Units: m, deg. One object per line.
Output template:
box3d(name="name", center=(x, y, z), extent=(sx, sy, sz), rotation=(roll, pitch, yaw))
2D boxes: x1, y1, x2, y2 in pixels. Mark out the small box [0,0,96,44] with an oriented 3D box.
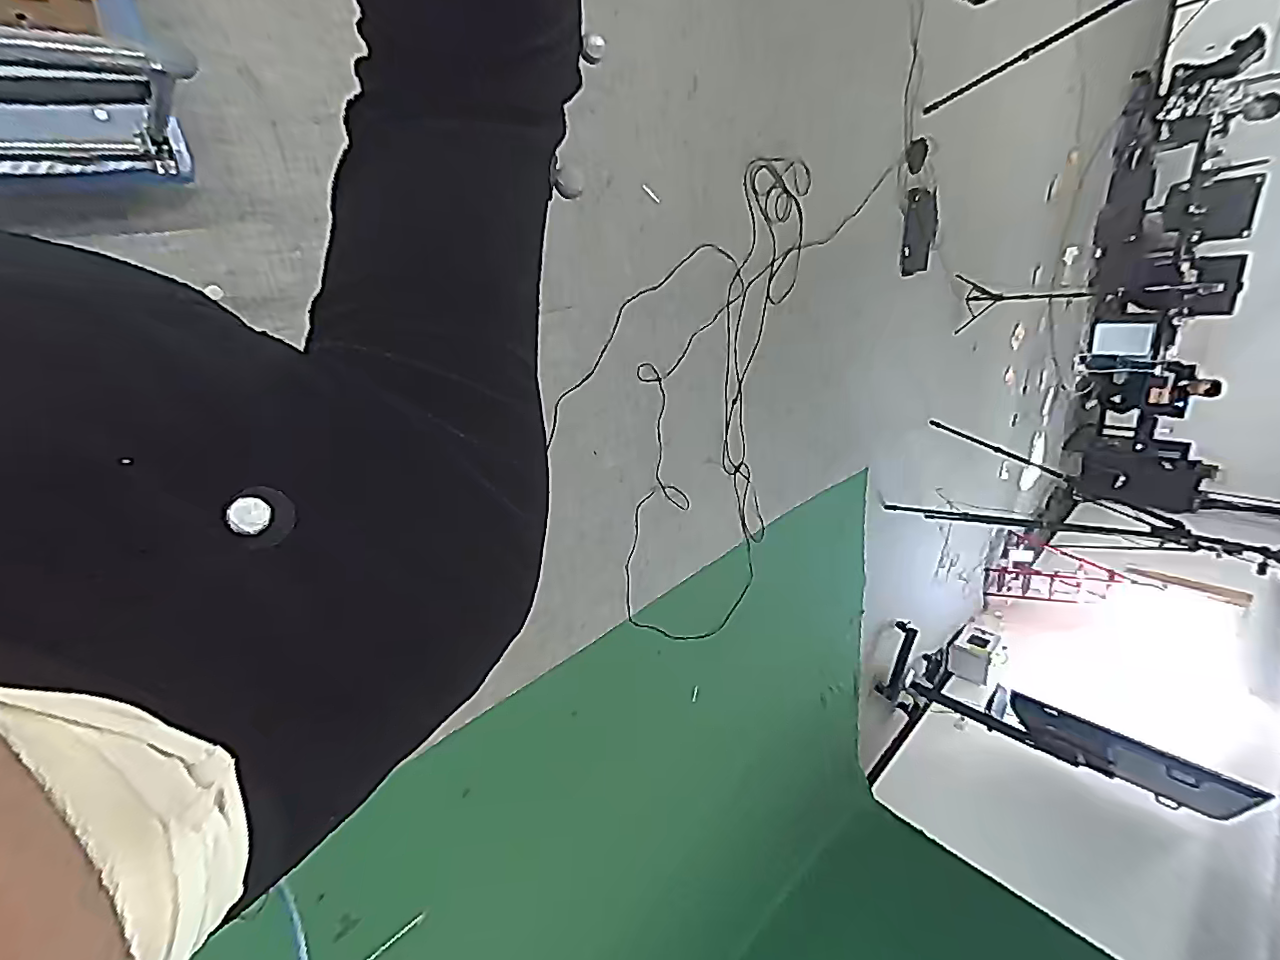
box3d(name="small box", center=(-0.968, -0.800, 0.812), extent=(0.168, 0.176, 0.179), rotation=(-25, 118, -35))
